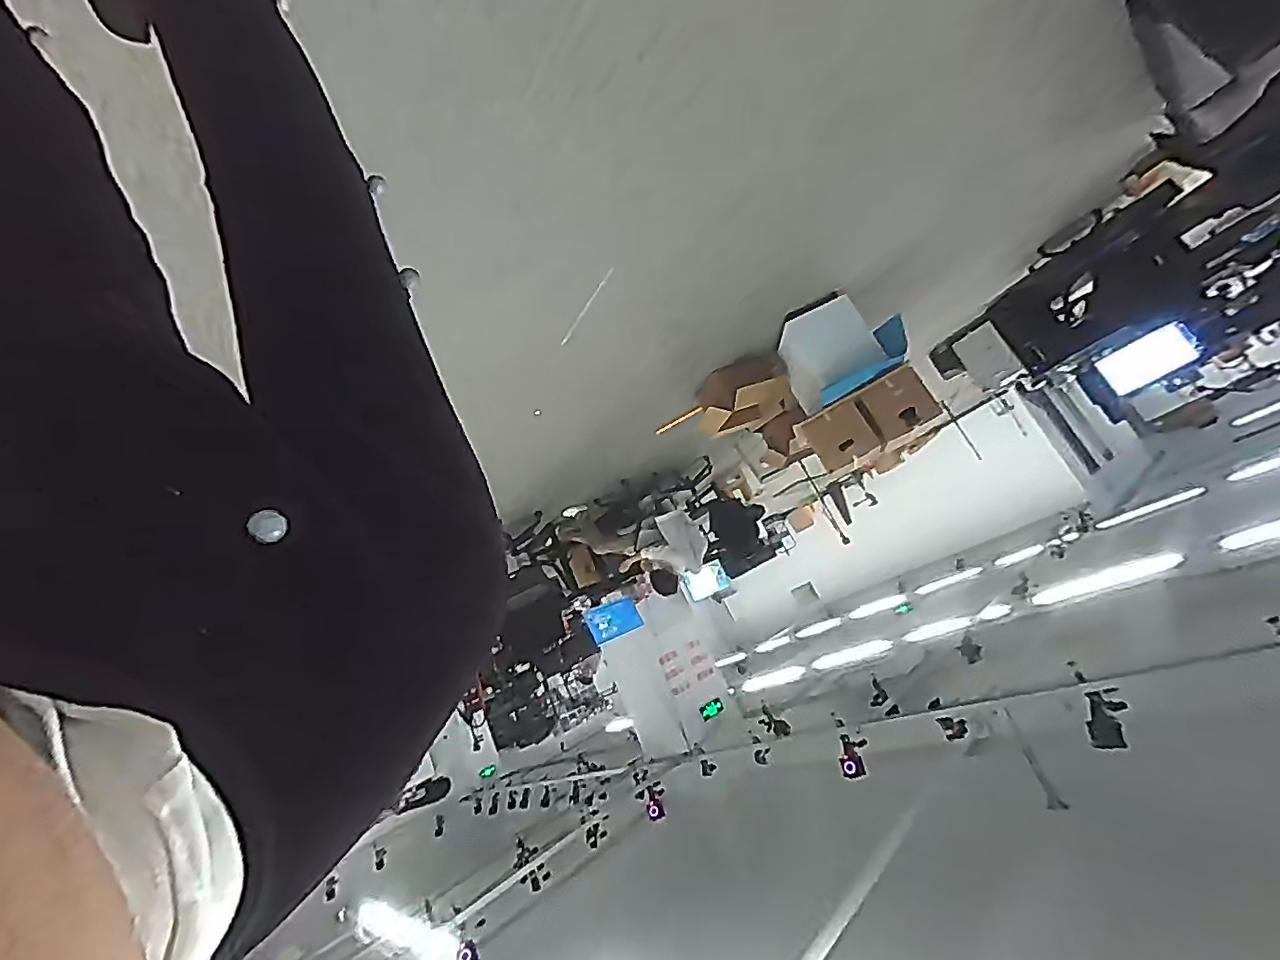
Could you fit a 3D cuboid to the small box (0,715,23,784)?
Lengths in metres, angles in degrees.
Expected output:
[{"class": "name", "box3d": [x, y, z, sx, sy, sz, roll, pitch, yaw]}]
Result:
[{"class": "small box", "box3d": [-1.862, 0.774, 1.504, 0.168, 0.176, 0.179, -11, 159, -43]}]
